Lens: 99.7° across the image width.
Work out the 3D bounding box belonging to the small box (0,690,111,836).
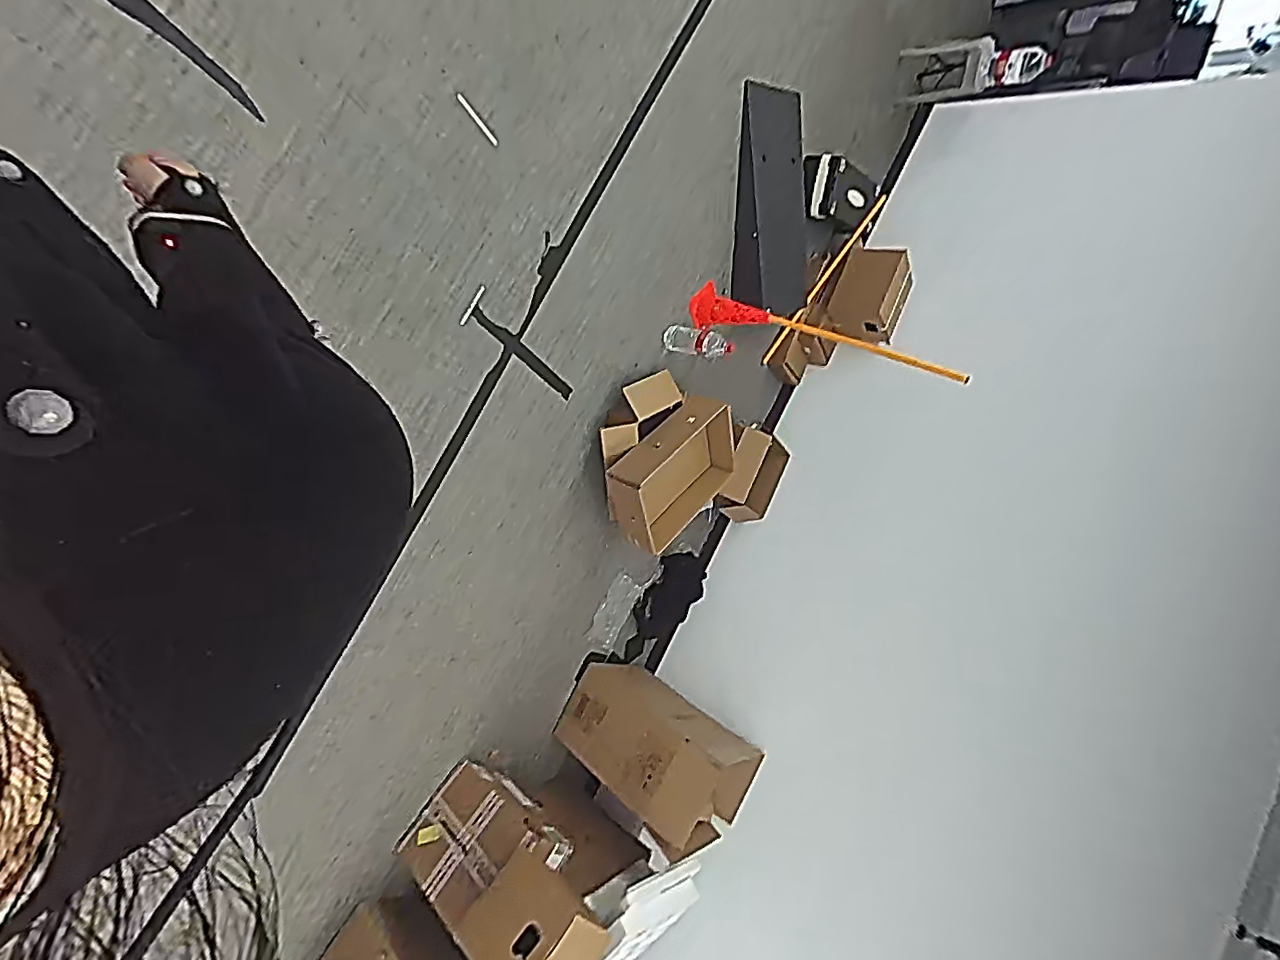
[{"bbox_3d":[-1.142,0.518,0.995,0.179,0.176,0.168,-61,145,-11],"label":"small box"}]
